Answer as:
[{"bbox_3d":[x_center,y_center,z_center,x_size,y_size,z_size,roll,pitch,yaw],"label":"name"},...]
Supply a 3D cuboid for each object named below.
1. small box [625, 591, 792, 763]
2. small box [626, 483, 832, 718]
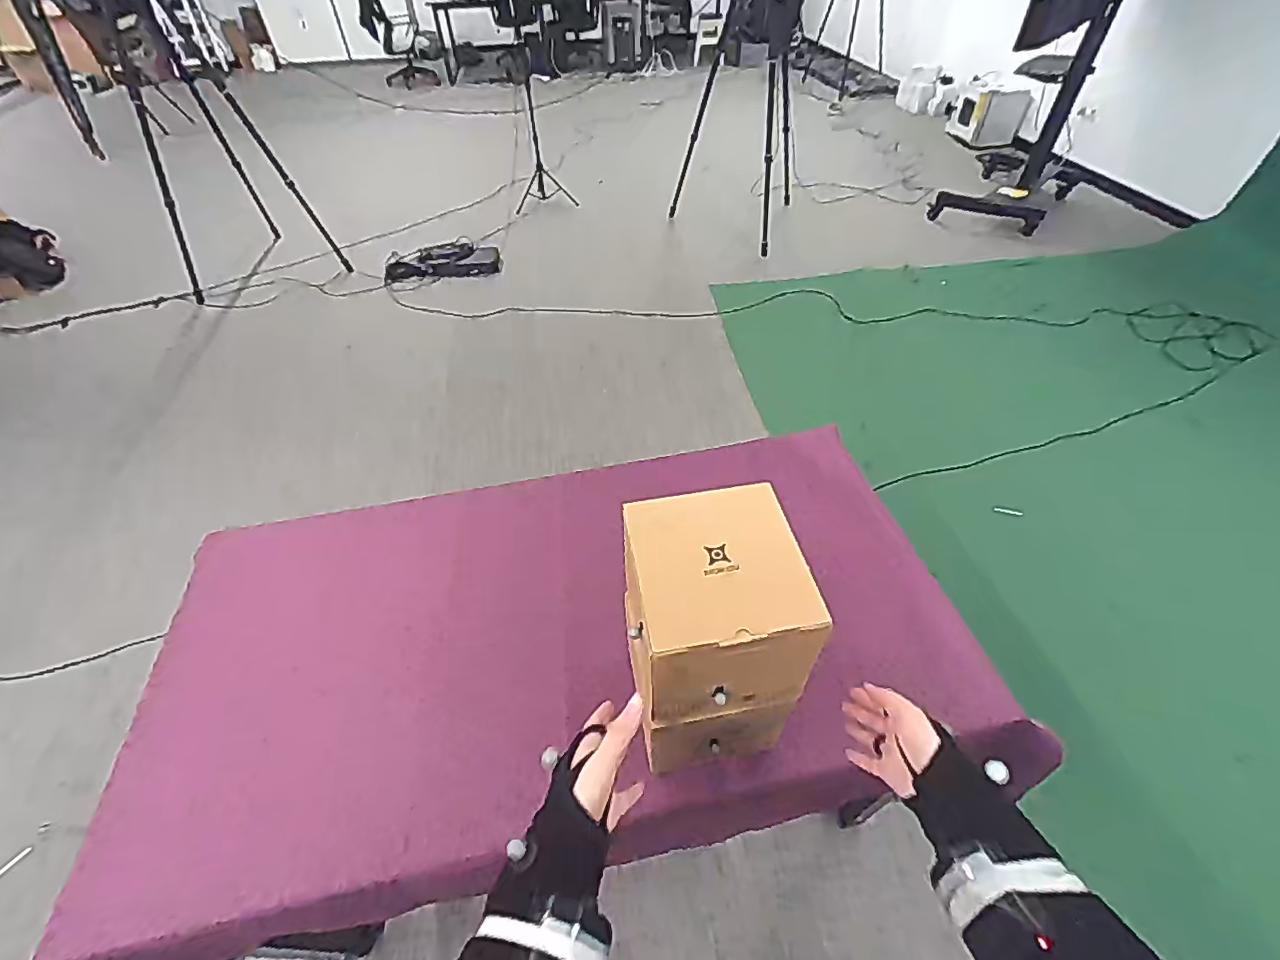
[{"bbox_3d":[0.078,0.247,0.701,0.168,0.176,0.179,-9,48,-6],"label":"small box"},{"bbox_3d":[0.078,0.130,0.587,0.168,0.176,0.179,-9,49,-6],"label":"small box"}]
